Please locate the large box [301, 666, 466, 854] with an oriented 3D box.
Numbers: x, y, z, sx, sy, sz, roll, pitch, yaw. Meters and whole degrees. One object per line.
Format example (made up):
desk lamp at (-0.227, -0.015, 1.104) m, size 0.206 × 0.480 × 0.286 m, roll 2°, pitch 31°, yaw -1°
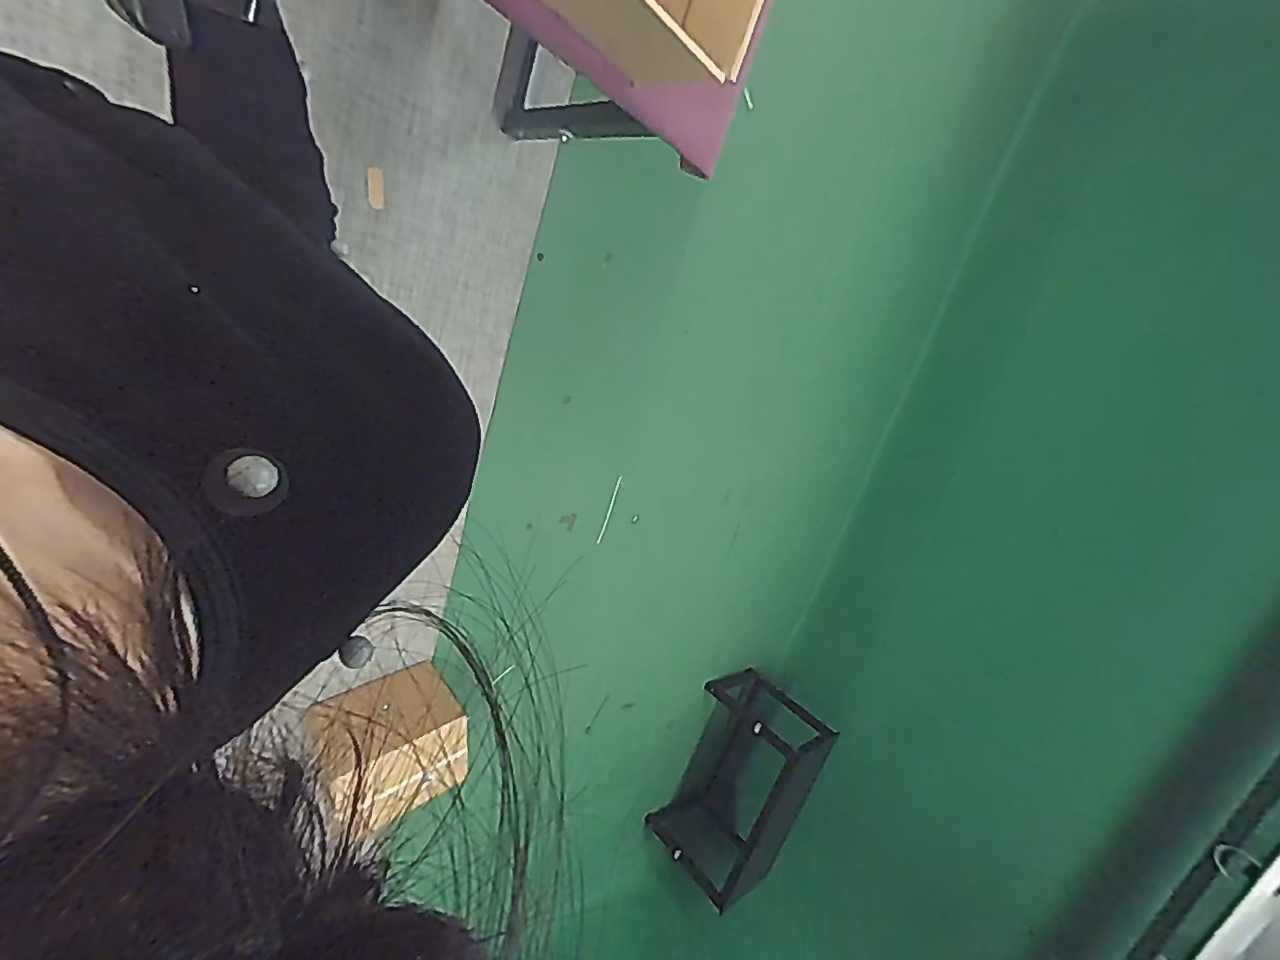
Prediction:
large box at (-0.836, 0.895, 1.786) m, size 0.408 × 0.320 × 0.320 m, roll -15°, pitch 123°, yaw -41°
